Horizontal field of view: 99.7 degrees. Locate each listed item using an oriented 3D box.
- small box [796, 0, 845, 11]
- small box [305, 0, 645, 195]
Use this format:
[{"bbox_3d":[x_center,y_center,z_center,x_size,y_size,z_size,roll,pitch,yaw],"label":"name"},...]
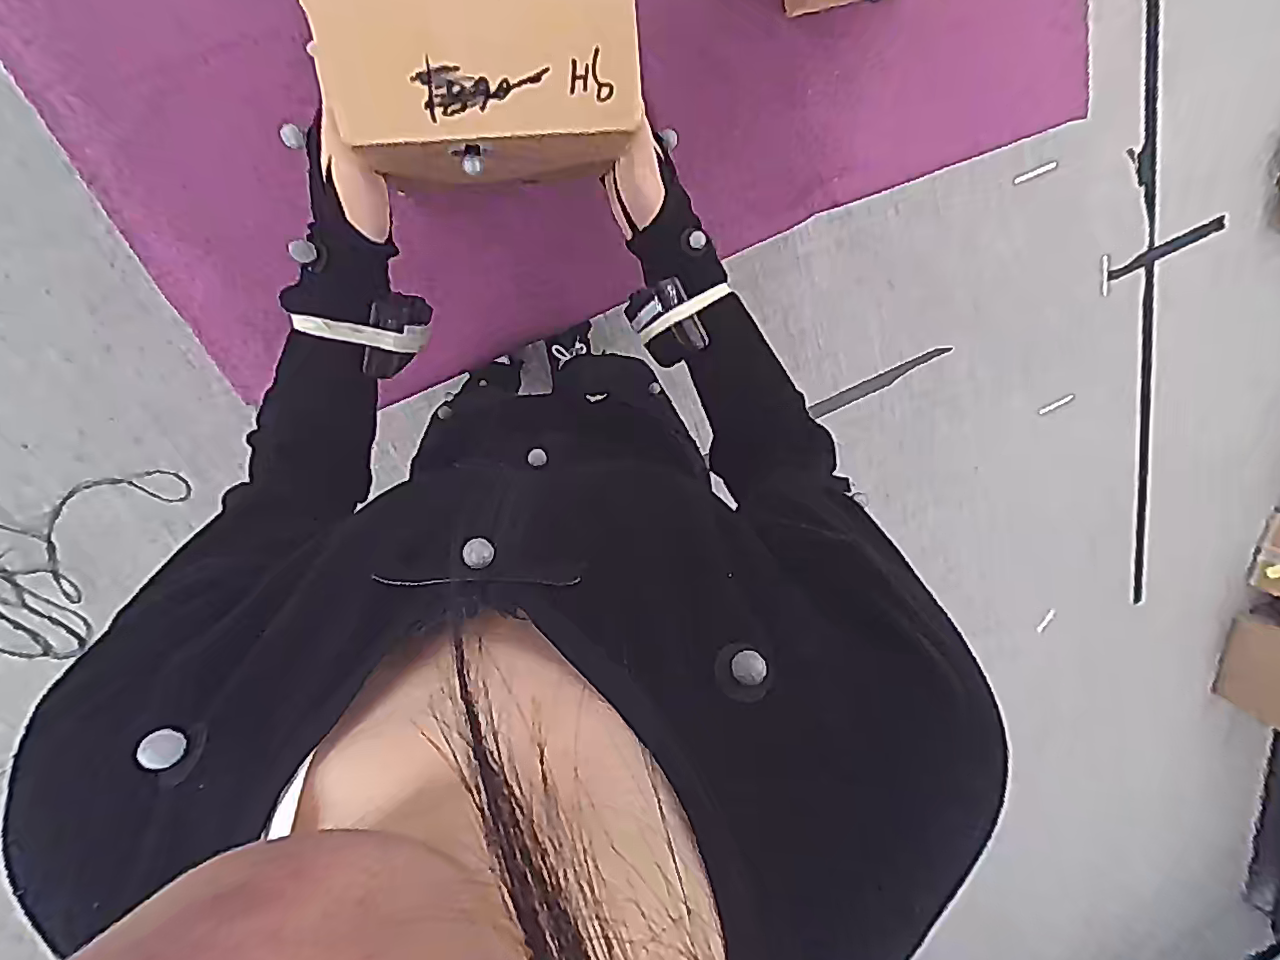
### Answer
[{"bbox_3d":[0.252,-0.633,0.548,0.168,0.176,0.179,-20,114,-8],"label":"small box"},{"bbox_3d":[-0.099,-0.291,0.335,0.168,0.176,0.179,-9,112,-9],"label":"small box"}]
